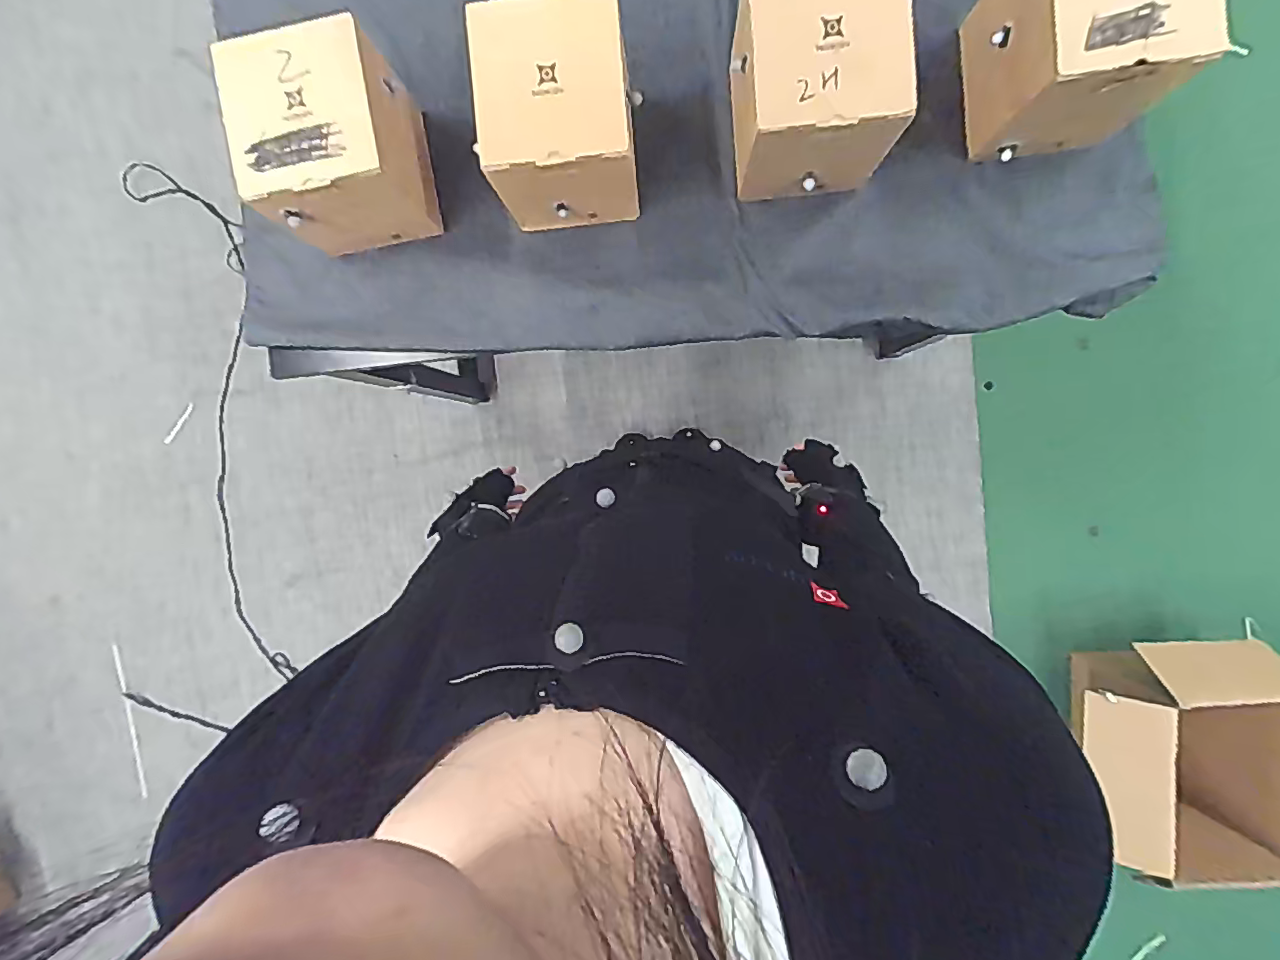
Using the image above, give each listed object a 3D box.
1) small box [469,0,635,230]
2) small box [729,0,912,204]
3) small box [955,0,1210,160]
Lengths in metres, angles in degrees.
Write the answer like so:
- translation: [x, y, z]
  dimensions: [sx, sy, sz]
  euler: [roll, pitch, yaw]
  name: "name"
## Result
- translation: [-0.095, -0.432, 0.660]
  dimensions: [0.168, 0.176, 0.179]
  euler: [-5, 94, 2]
  name: "small box"
- translation: [0.202, -0.461, 0.646]
  dimensions: [0.168, 0.176, 0.179]
  euler: [-4, 93, 3]
  name: "small box"
- translation: [0.498, -0.503, 0.632]
  dimensions: [0.168, 0.176, 0.179]
  euler: [-5, 93, 2]
  name: "small box"
